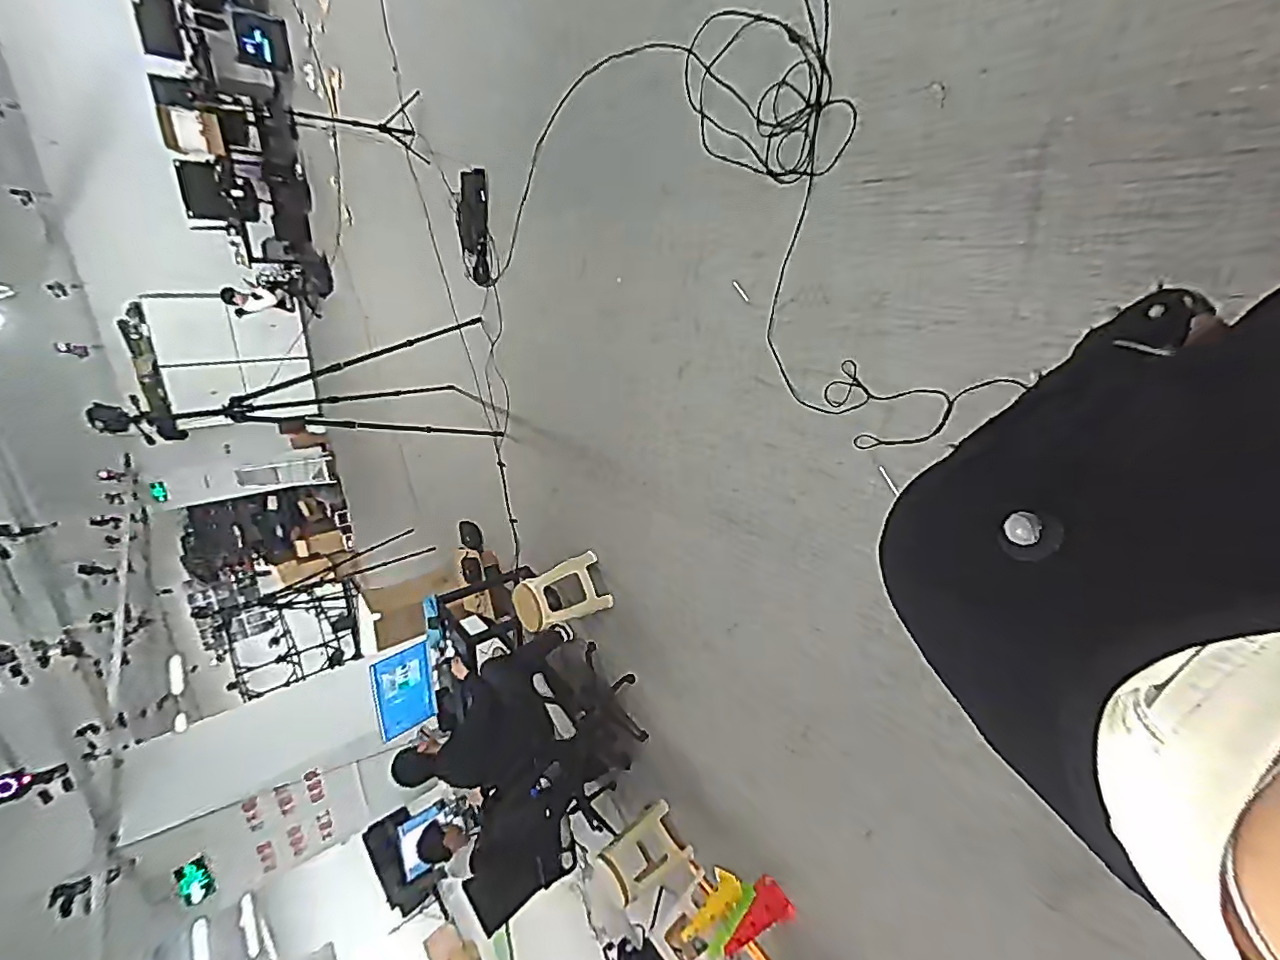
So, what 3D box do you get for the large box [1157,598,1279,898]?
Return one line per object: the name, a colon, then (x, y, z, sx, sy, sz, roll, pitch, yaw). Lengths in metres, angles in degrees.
large box: (1.173, 0.469, 0.899, 0.320, 0.320, 0.408, 32, 127, 41)
